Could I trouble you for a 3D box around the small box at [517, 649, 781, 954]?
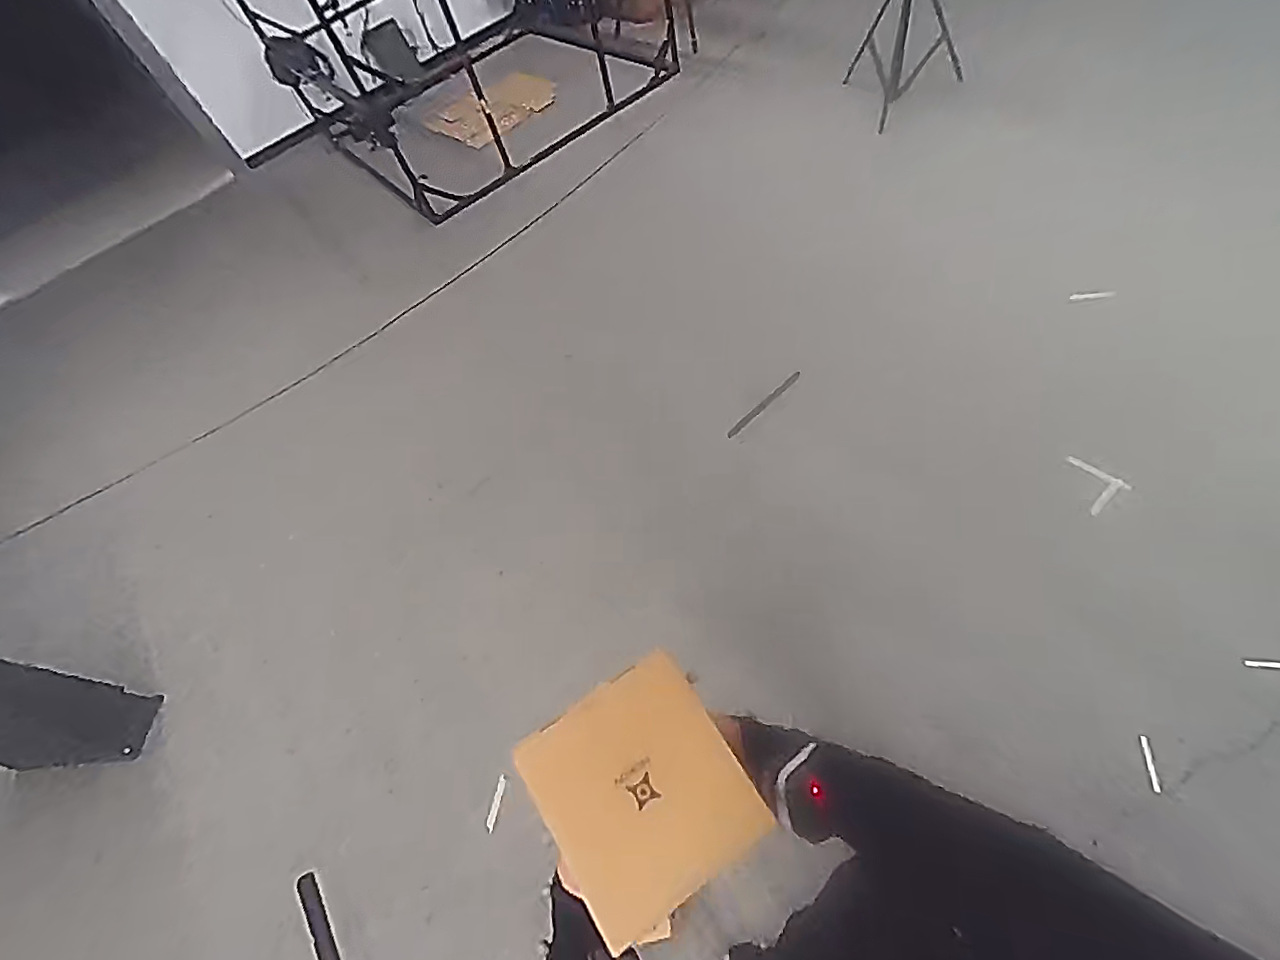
[{"bbox_3d":[0.006,0.291,0.533,0.168,0.176,0.179,-31,71,-13],"label":"small box"}]
